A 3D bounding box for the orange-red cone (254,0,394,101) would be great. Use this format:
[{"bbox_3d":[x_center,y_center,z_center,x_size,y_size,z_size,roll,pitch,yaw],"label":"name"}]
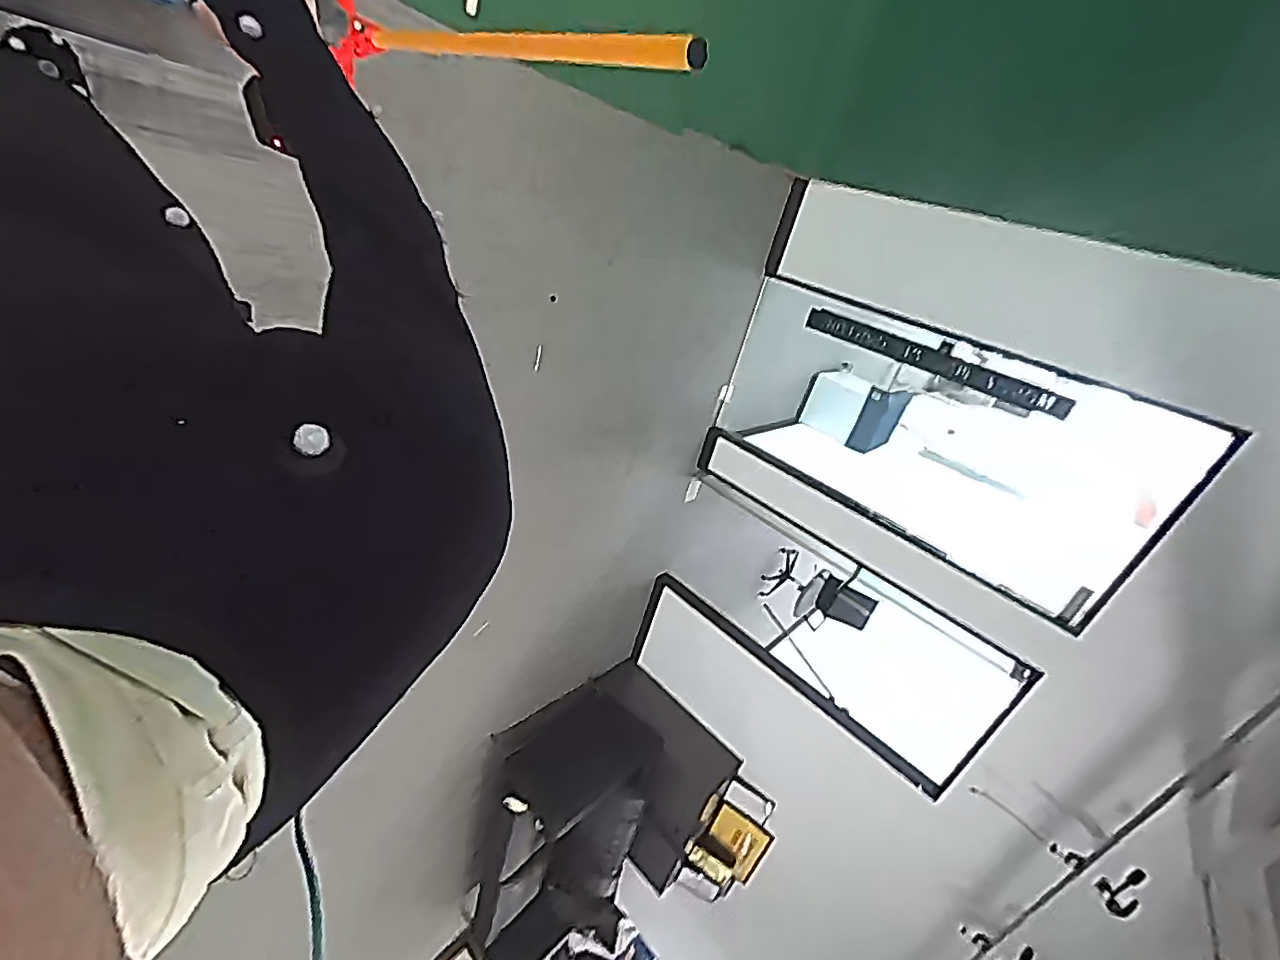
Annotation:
[{"bbox_3d":[-0.595,-0.880,1.079,0.198,0.360,0.199,-15,129,-48],"label":"orange-red cone"}]
